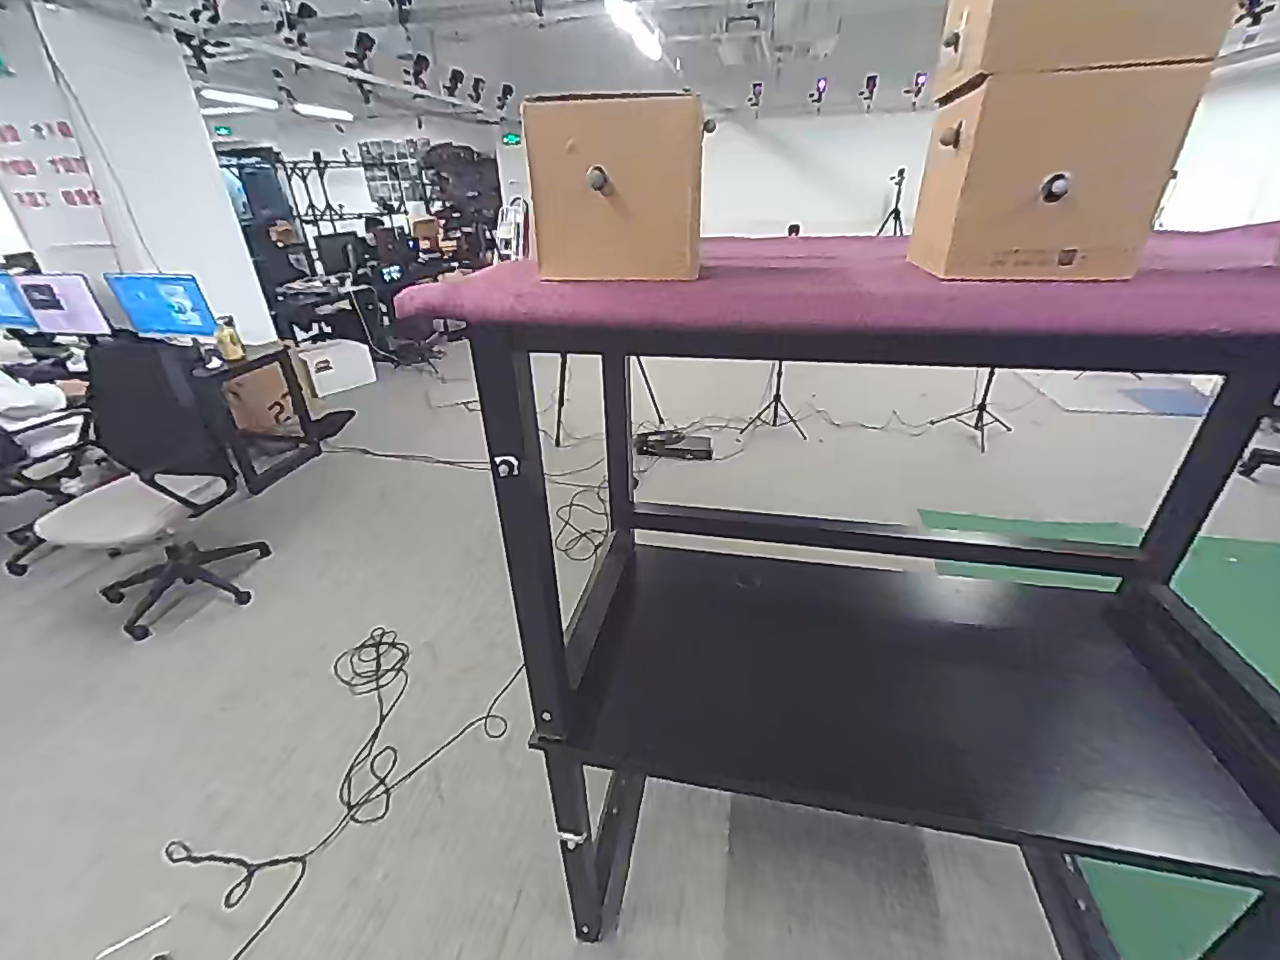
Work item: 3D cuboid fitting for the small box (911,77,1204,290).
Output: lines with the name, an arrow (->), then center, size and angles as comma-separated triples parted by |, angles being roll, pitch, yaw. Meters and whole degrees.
small box -> 0.401, -0.296, 0.562 | 0.168, 0.176, 0.179 | 6, 28, 11

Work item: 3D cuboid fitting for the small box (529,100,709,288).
small box -> -0.011, -0.321, 0.623 | 0.179, 0.176, 0.168 | 2, 29, 7
